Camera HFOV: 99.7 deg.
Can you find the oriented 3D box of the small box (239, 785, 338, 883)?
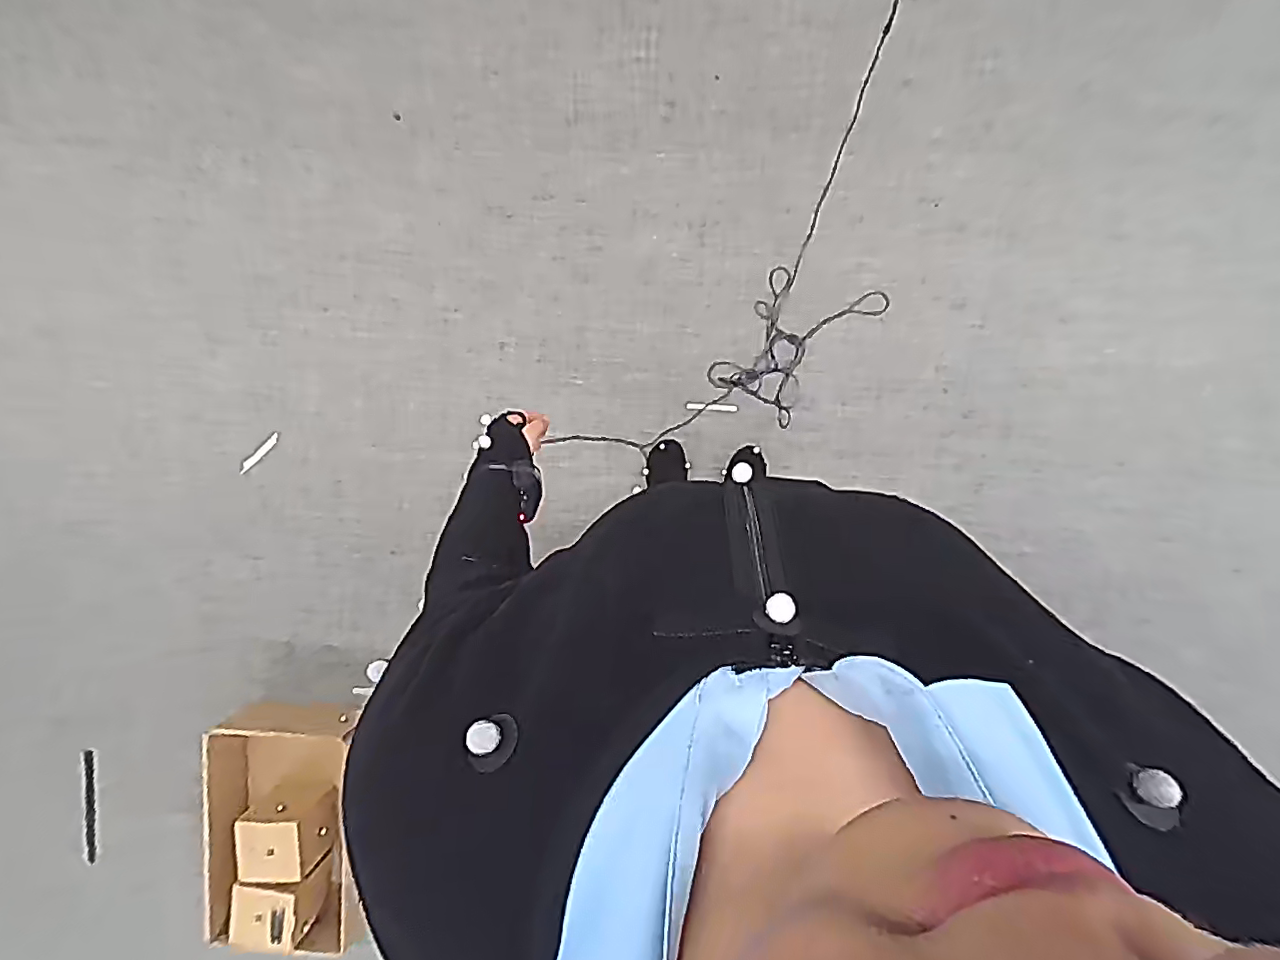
[{"bbox_3d":[-0.968,0.979,1.506,0.179,0.176,0.168,-2,92,4],"label":"small box"}]
